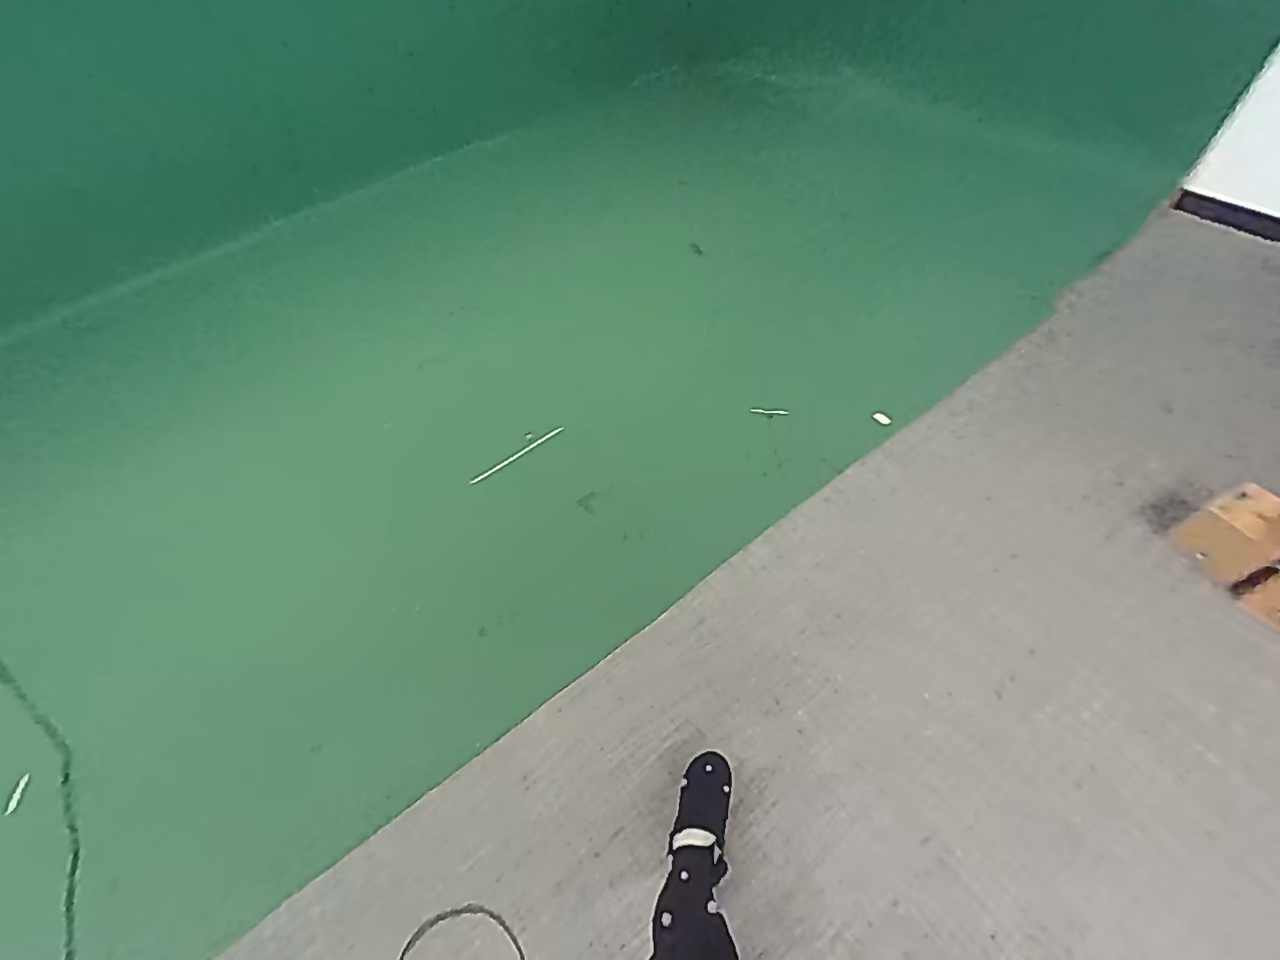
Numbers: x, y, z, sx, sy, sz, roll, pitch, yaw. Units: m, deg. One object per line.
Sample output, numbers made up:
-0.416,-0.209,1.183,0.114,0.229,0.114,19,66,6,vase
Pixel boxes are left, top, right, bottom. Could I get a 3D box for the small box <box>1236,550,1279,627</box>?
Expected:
1.635,0.258,1.313,0.179,0.176,0.168,-35,58,-15,small box
